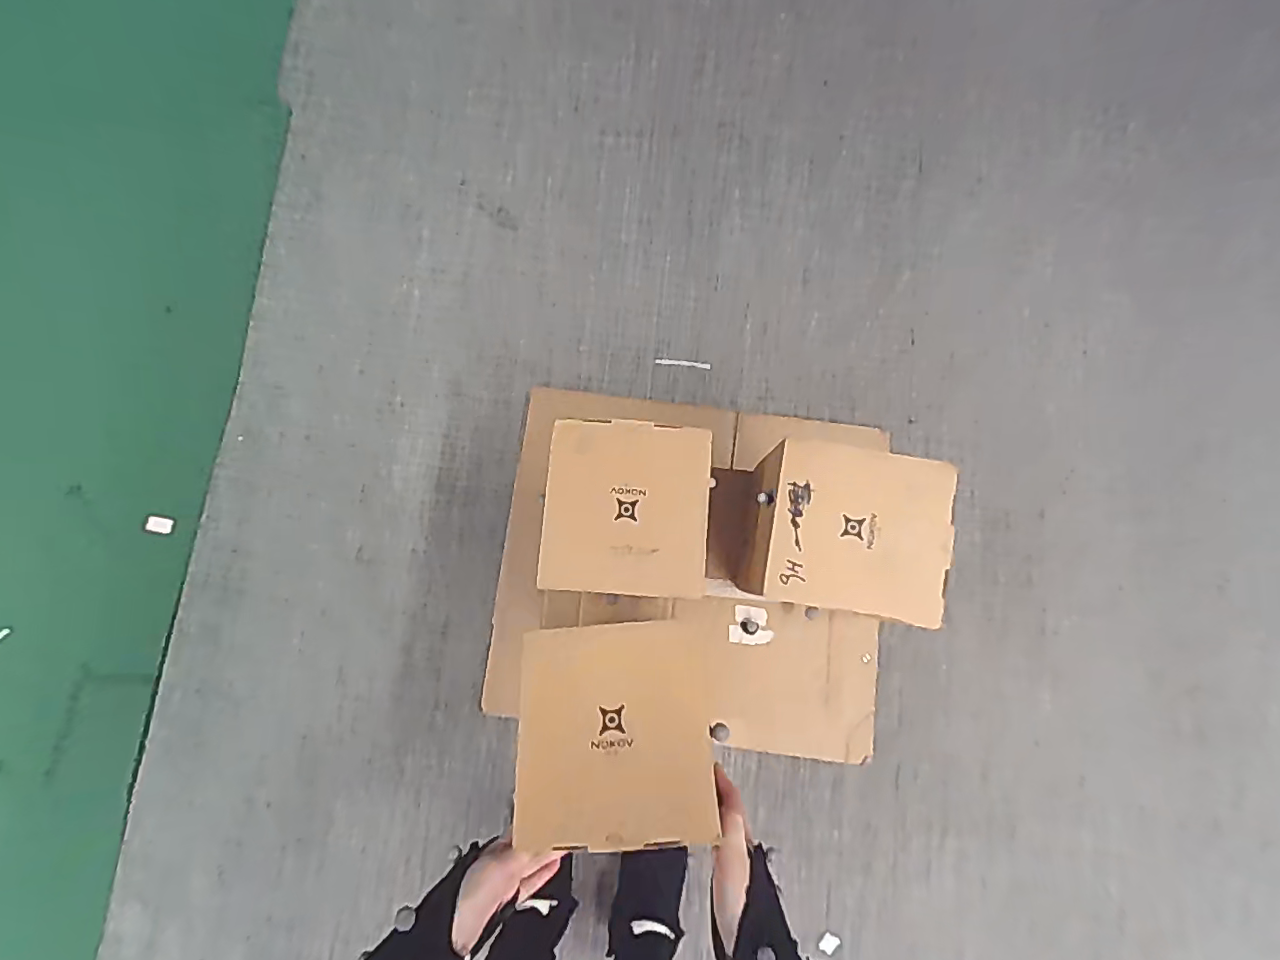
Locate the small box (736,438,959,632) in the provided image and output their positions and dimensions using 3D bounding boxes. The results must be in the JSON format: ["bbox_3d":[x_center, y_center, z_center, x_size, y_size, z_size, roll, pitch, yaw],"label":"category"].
[{"bbox_3d":[0.220,0.063,0.612,0.179,0.176,0.168,11,81,2],"label":"small box"}]

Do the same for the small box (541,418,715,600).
[{"bbox_3d":[-0.010,0.040,0.618,0.168,0.176,0.179,4,81,1],"label":"small box"}]

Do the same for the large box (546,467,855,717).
[{"bbox_3d":[0.078,0.157,0.845,0.408,0.320,0.320,5,81,0],"label":"large box"}]

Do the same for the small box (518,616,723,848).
[{"bbox_3d":[-0.014,0.246,0.533,0.168,0.176,0.179,-6,62,3],"label":"small box"}]
